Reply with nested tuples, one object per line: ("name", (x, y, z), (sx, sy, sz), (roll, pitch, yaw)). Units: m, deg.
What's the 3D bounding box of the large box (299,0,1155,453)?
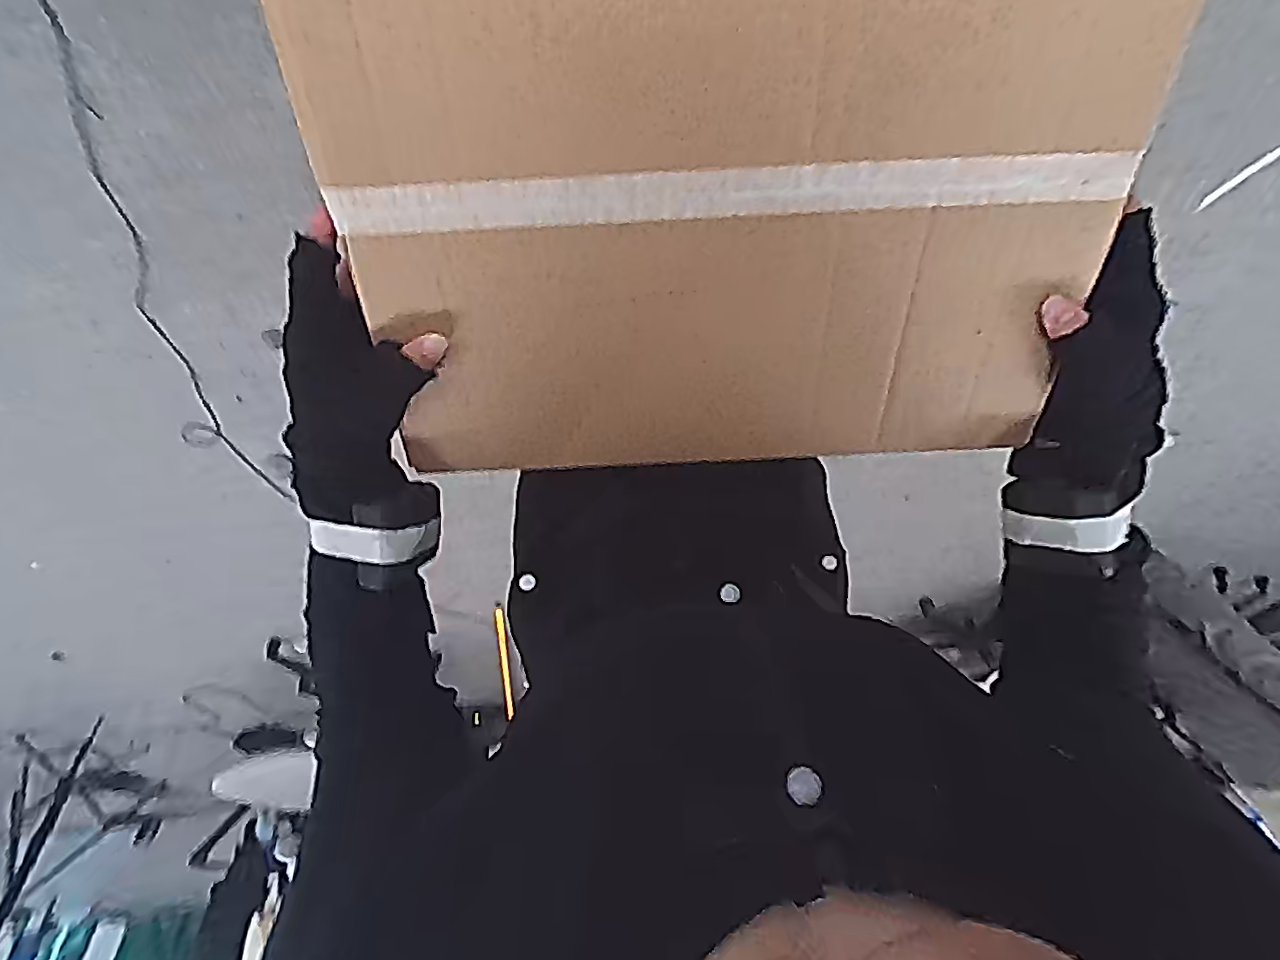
("large box", (0.039, -0.237, 0.417), (0.408, 0.320, 0.320), (-3, 123, -1))
